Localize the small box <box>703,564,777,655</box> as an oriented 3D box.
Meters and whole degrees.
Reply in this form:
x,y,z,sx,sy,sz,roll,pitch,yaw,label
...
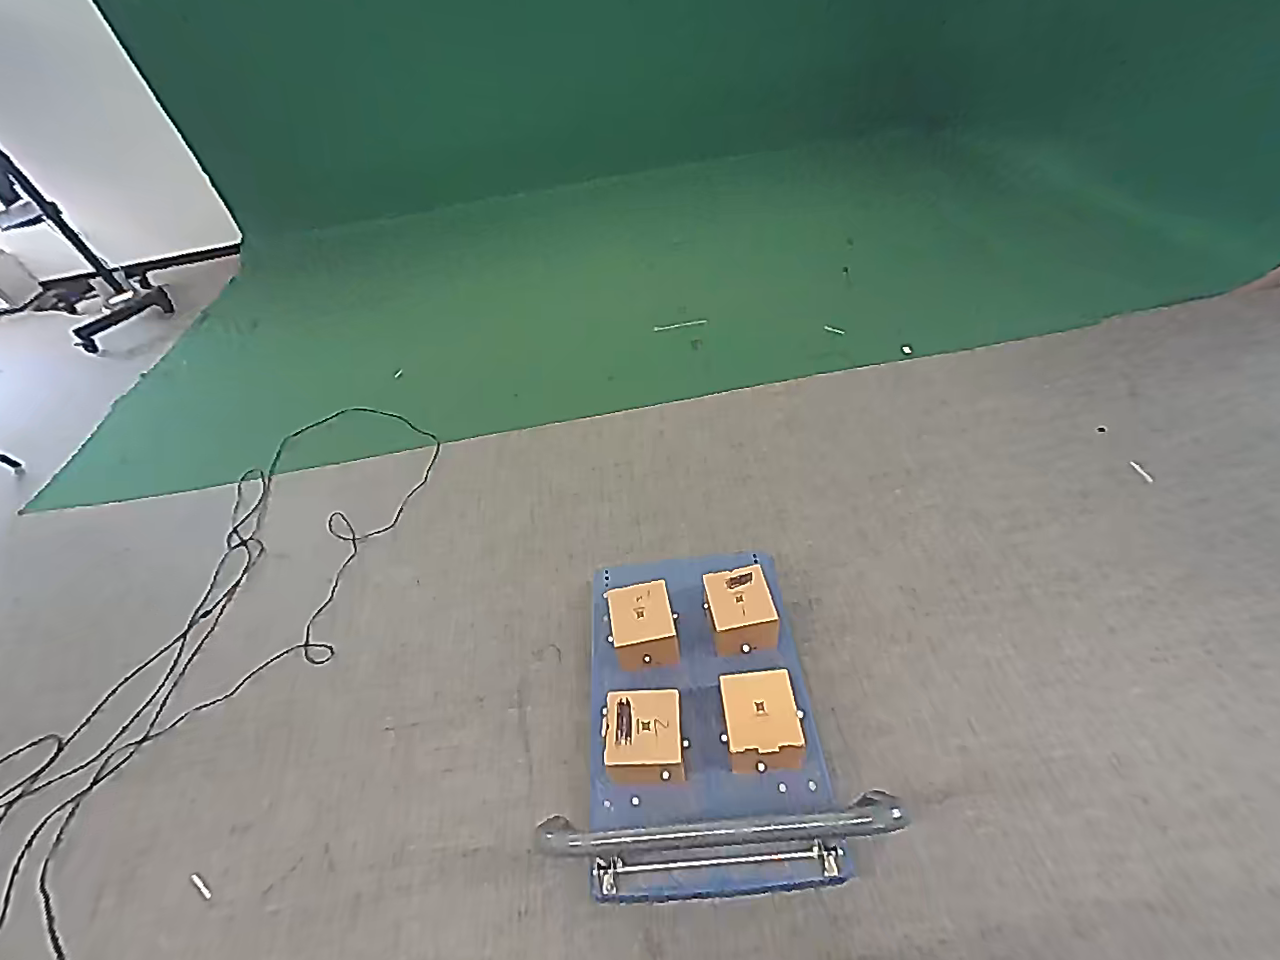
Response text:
x,y,z,sx,sy,sz,roll,pitch,yaw,label
0.273,0.363,1.513,0.168,0.176,0.179,-11,47,0,small box

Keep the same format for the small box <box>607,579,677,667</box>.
x,y,z,sx,sy,sz,roll,pitch,yaw,label
0.007,0.406,1.515,0.168,0.176,0.179,-10,47,-2,small box

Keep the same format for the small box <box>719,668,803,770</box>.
x,y,z,sx,sy,sz,roll,pitch,yaw,label
0.285,0.580,1.311,0.168,0.176,0.179,-7,47,3,small box
